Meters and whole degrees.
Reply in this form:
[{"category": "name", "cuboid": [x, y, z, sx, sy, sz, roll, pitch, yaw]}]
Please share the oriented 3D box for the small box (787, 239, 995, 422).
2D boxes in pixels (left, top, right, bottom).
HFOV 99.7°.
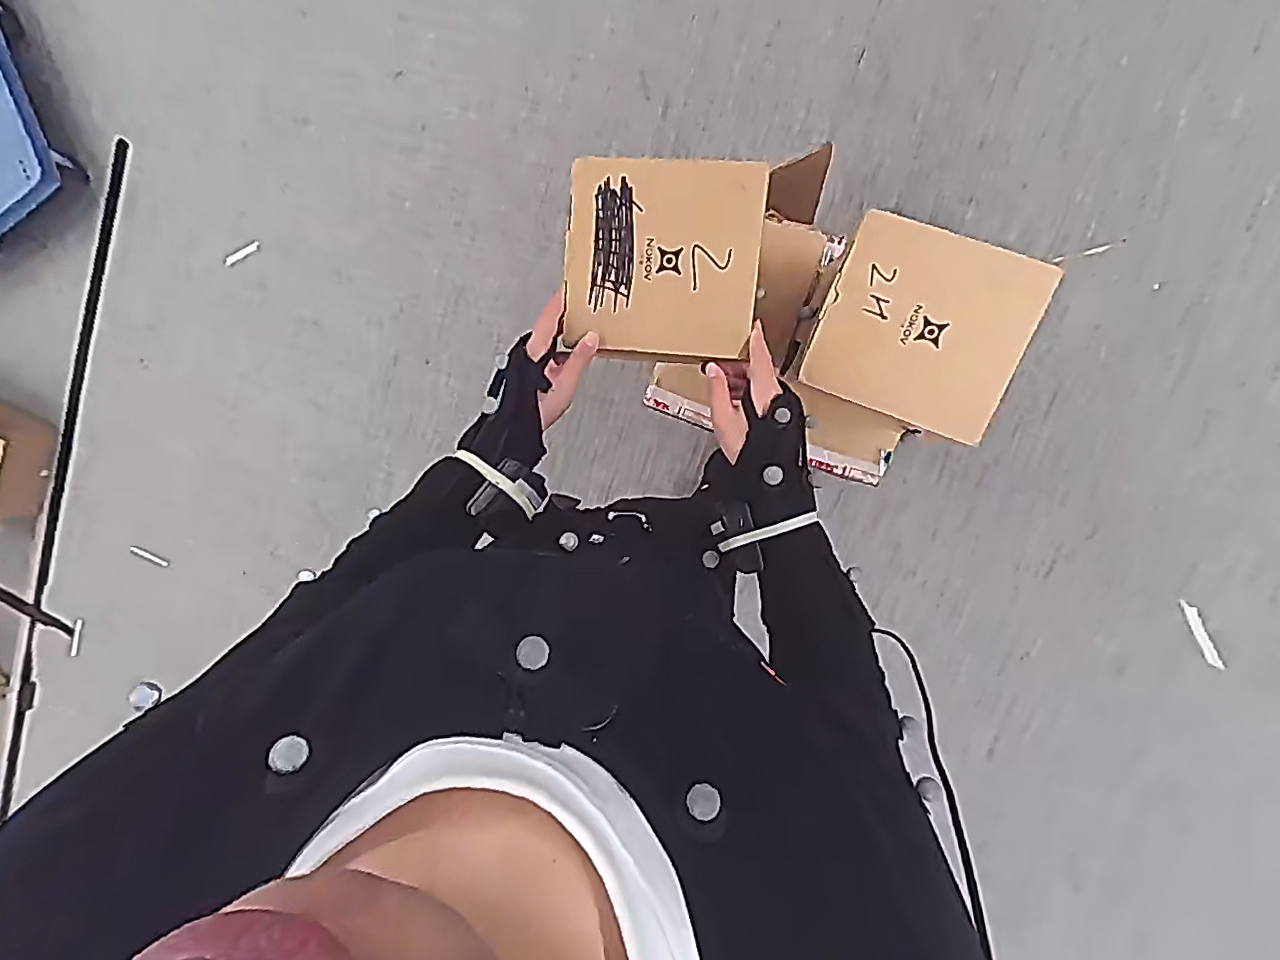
[{"category": "small box", "cuboid": [0.309, -0.184, 0.716, 0.179, 0.176, 0.168, 26, 101, 7]}]
